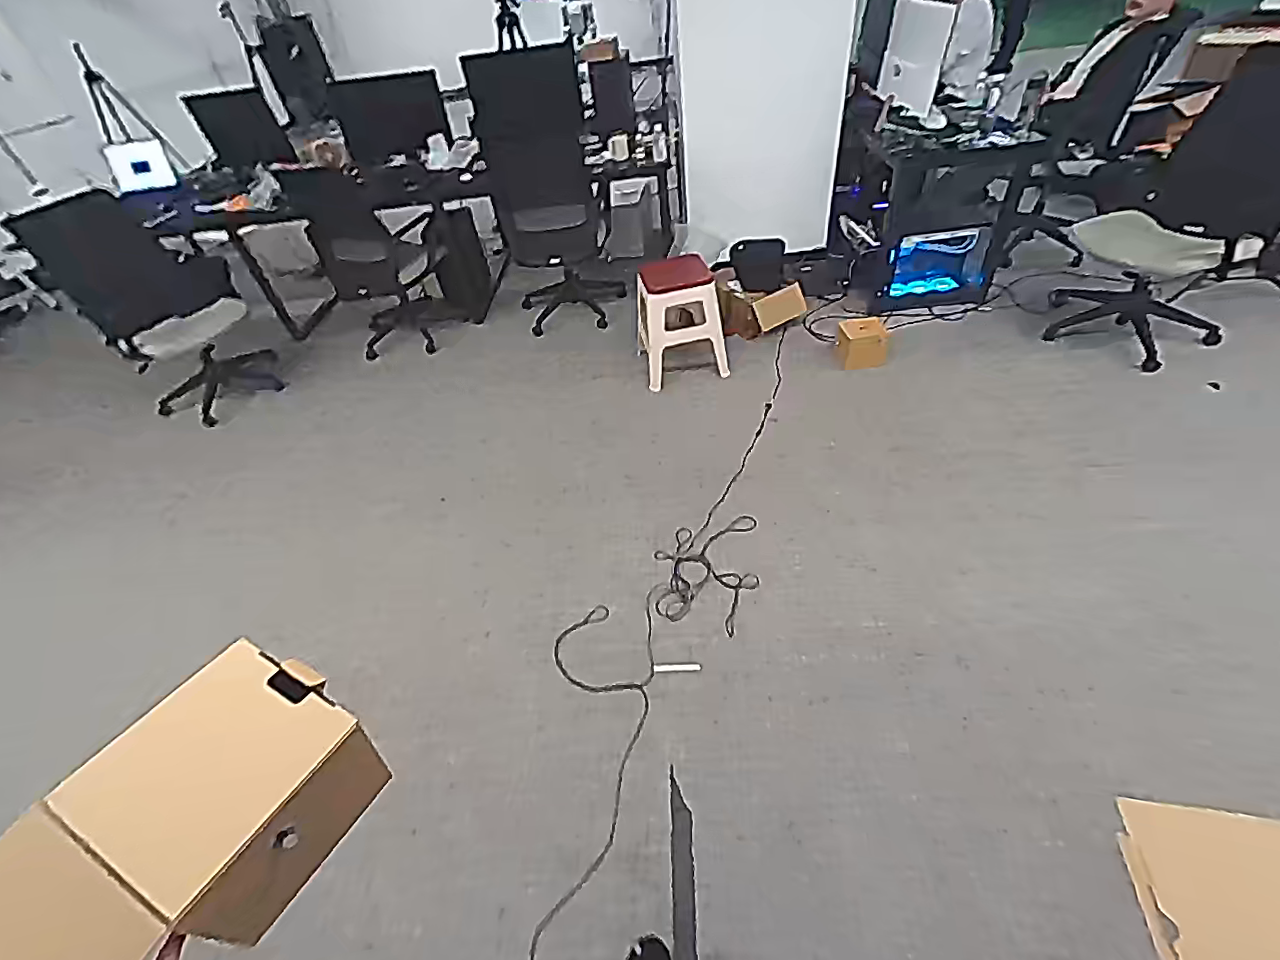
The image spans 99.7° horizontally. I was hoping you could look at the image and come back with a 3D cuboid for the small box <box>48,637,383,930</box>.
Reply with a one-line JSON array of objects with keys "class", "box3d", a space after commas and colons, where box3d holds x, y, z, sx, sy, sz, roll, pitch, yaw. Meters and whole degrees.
[{"class": "small box", "box3d": [-0.389, 0.300, 0.536, 0.168, 0.176, 0.179, 25, 46, 14]}]
